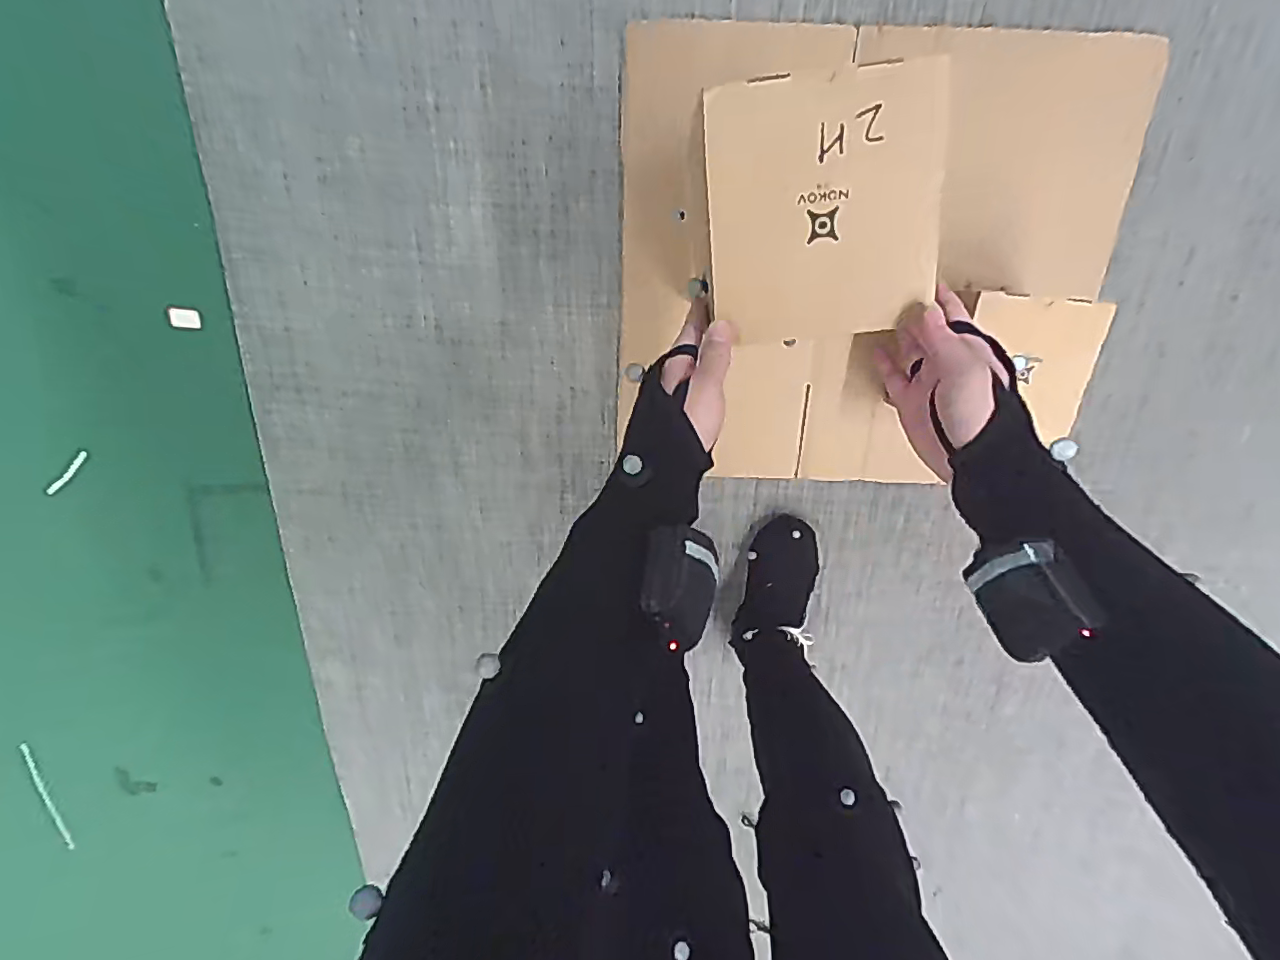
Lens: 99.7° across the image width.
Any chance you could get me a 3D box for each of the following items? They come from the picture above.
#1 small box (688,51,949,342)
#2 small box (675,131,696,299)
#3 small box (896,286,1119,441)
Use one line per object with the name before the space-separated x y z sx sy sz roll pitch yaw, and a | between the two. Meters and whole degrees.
small box | 0.132 -0.223 0.463 0.168 0.176 0.179 -5 110 3
small box | 0.135 -0.326 0.680 0.168 0.176 0.179 -6 110 3
small box | 0.472 -0.163 0.730 0.168 0.176 0.179 4 109 -1
